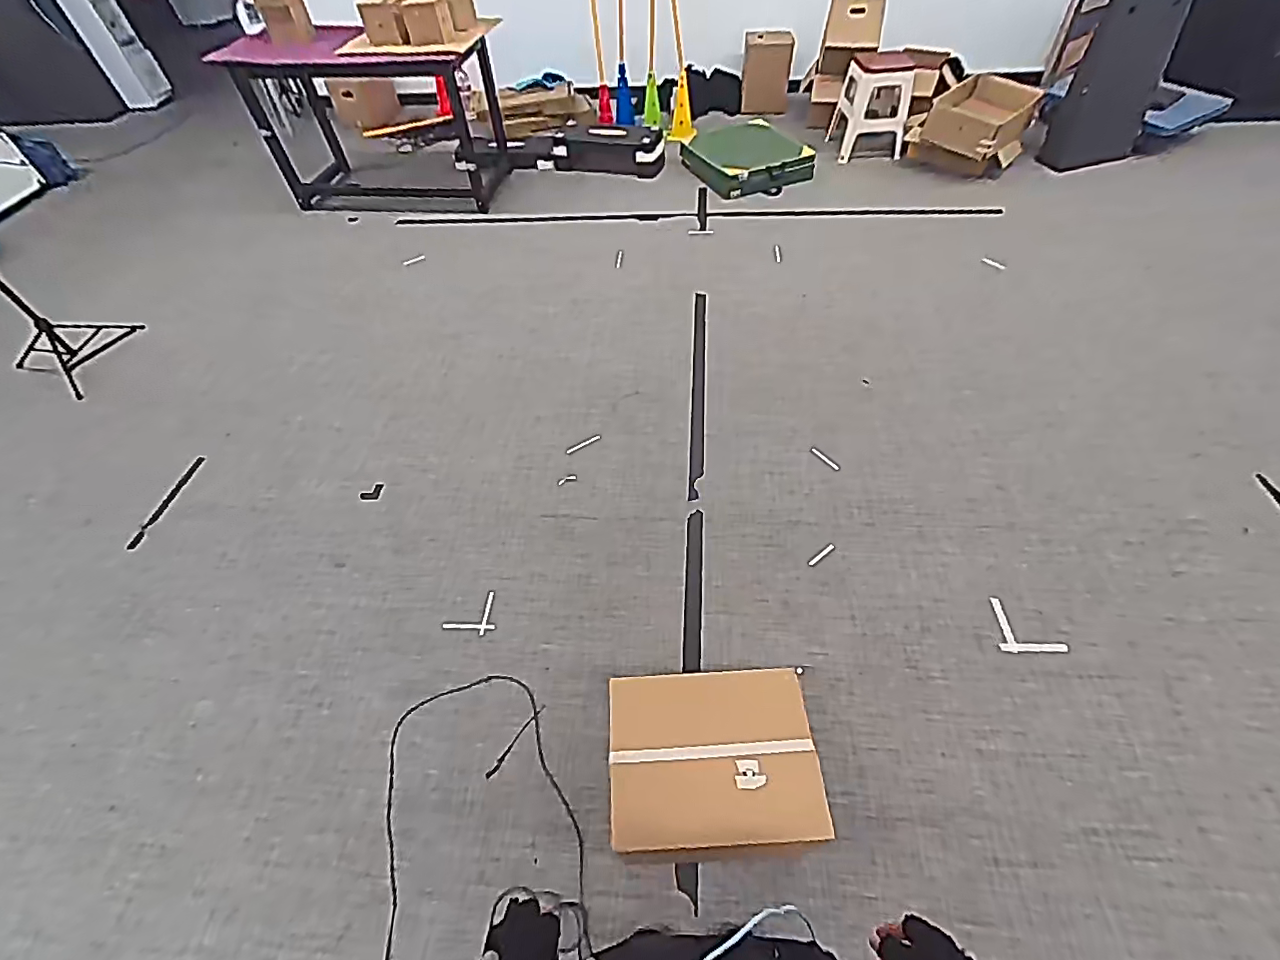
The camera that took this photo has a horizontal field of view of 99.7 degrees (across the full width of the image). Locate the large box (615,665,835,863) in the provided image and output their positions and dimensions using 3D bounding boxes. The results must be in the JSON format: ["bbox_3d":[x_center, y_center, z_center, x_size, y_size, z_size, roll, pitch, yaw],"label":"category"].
[{"bbox_3d":[0.156,0.628,1.189,0.408,0.320,0.320,-3,51,0],"label":"large box"}]
